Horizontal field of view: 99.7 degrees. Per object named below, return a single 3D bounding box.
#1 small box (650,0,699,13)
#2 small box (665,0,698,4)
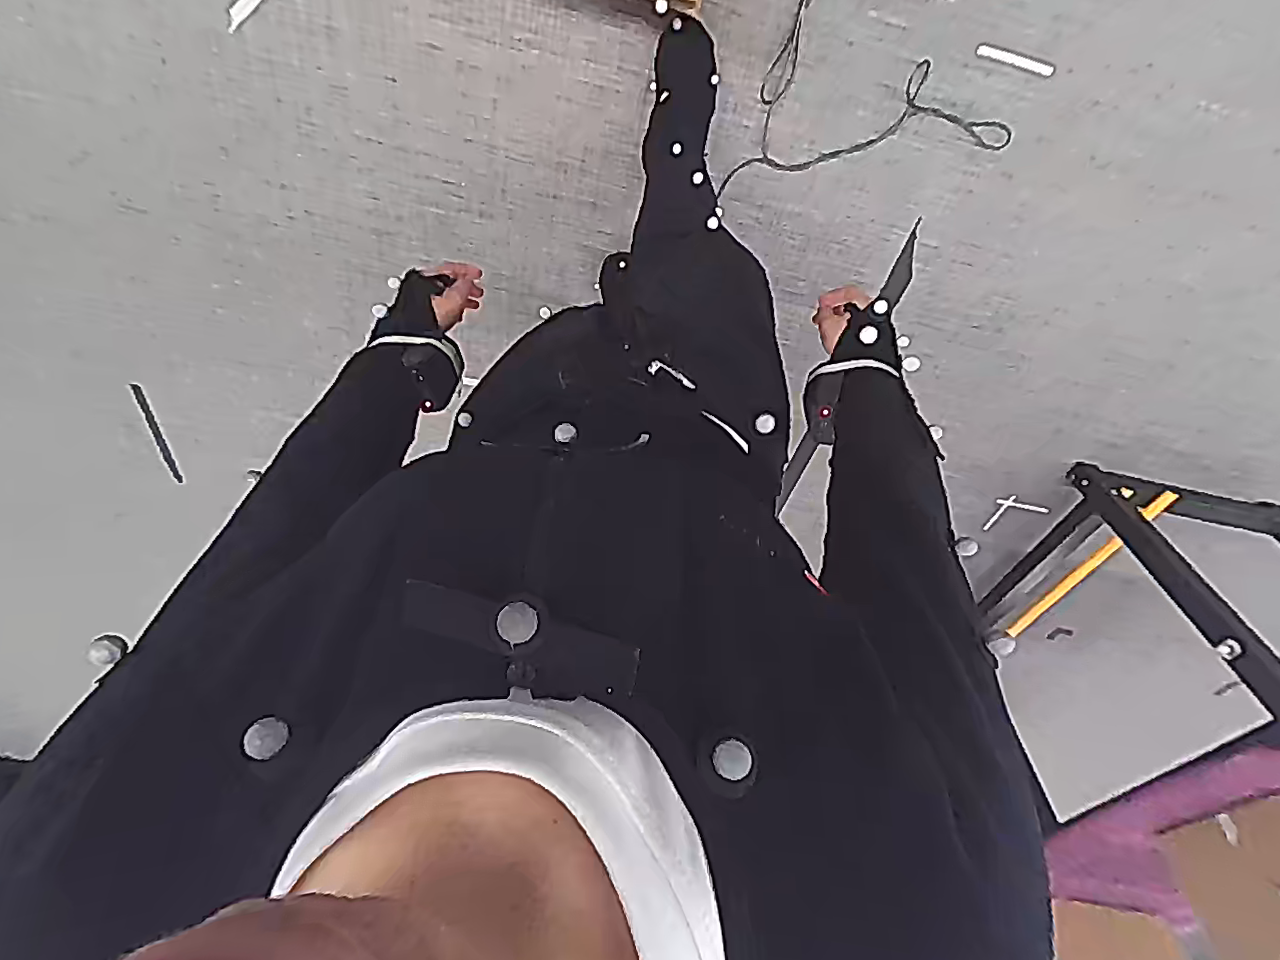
[{"bbox_3d":[0.027,-0.816,0.790,0.179,0.176,0.168,17,129,-8],"label":"small box"},{"bbox_3d":[0.011,-0.712,0.663,0.179,0.176,0.168,13,129,-3],"label":"small box"}]
